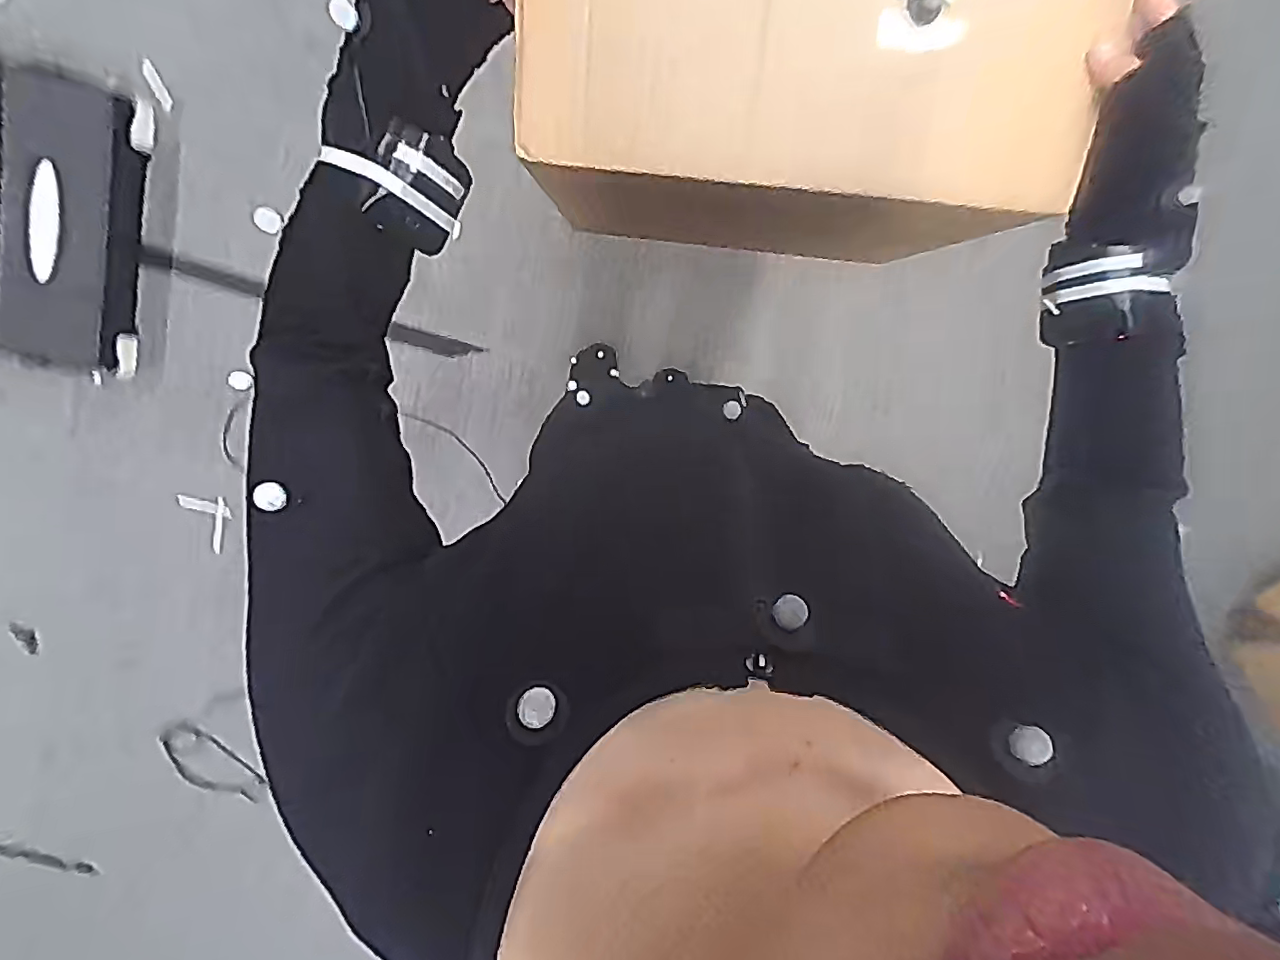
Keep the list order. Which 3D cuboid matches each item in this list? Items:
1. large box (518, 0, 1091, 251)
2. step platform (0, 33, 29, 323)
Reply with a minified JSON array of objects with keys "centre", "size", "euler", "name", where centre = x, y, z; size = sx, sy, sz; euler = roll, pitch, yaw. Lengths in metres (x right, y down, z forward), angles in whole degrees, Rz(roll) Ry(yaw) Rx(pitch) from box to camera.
[{"centre":[0.113,-0.410,0.506],"size":[0.408,0.320,0.320],"euler":[4,106,-2],"name":"large box"},{"centre":[-1.637,-0.721,1.215],"size":[0.286,0.204,0.684],"euler":[14,99,-4],"name":"step platform"}]
